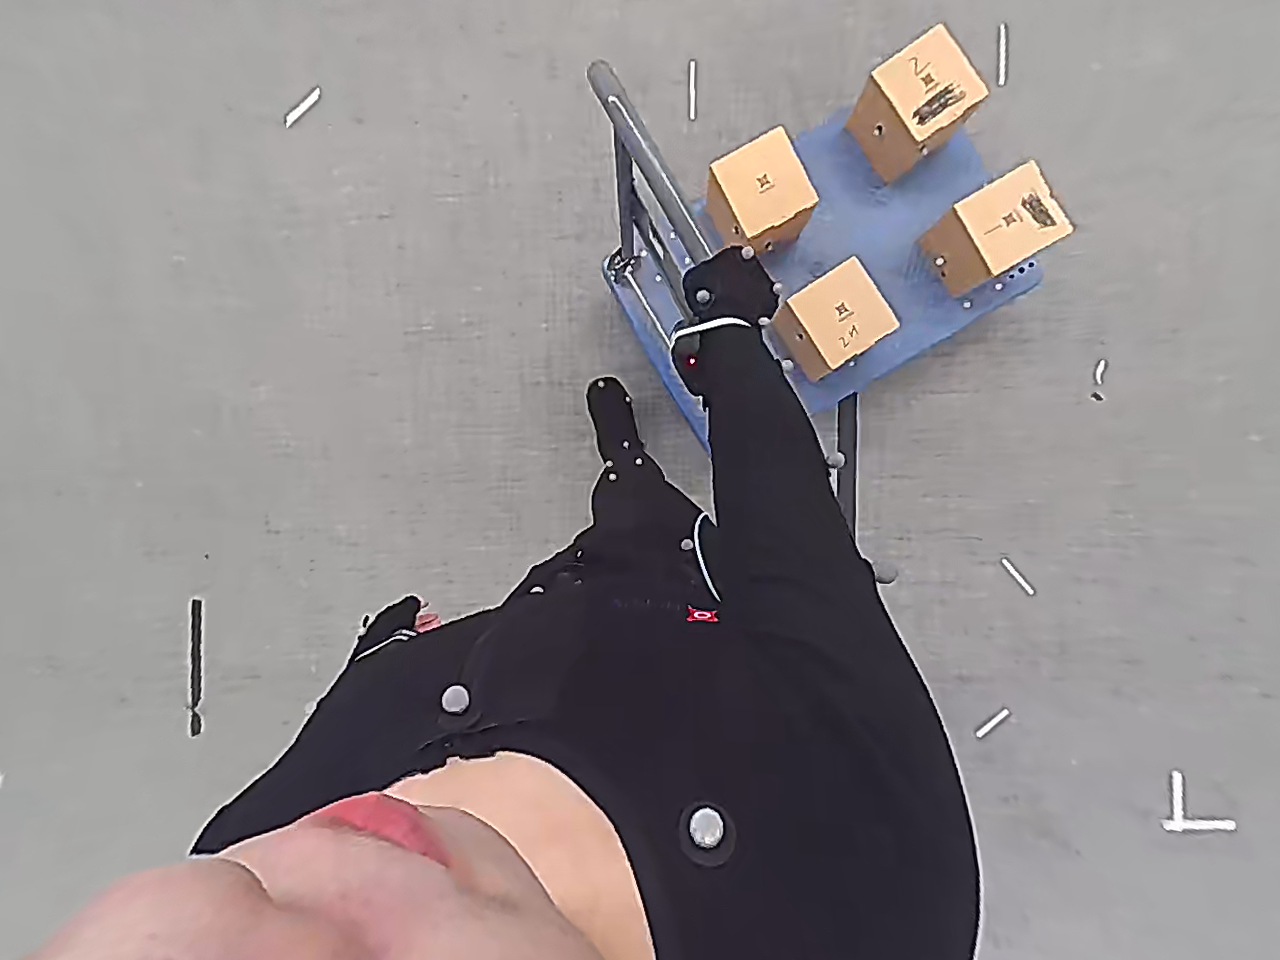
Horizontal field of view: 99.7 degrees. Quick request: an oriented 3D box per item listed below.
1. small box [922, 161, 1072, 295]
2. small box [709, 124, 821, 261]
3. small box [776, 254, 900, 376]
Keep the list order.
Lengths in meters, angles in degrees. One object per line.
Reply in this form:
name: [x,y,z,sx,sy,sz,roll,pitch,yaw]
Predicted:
small box: [0.749,-0.525,1.154,0.179,0.176,0.168,-29,90,5]
small box: [0.262,-0.615,1.179,0.168,0.176,0.179,-27,92,3]
small box: [0.418,-0.348,1.178,0.168,0.176,0.179,-32,90,4]
